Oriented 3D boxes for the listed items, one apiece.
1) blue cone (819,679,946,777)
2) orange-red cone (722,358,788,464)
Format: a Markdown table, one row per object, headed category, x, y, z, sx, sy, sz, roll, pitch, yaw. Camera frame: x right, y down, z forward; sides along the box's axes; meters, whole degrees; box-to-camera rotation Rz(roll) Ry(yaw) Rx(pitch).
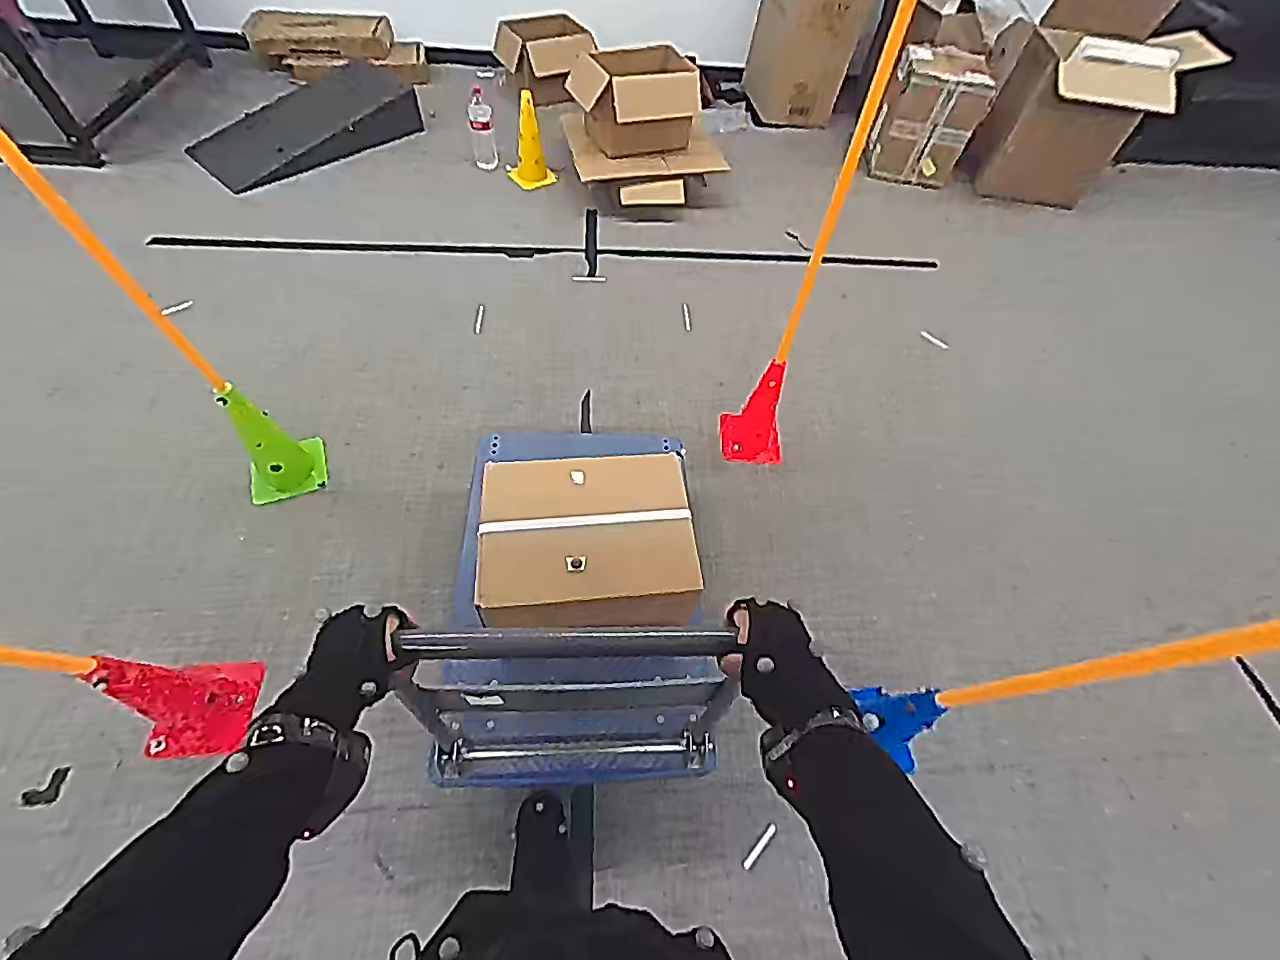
| category | x | y | z | sx | sy | sz | roll | pitch | yaw |
| --- | --- | --- | --- | --- | --- | --- | --- | --- | --- |
| blue cone | 0.563 | 0.519 | 1.188 | 0.193 | 0.380 | 0.192 | -3 | 55 | -8 |
| orange-red cone | 0.388 | -0.235 | 1.668 | 0.199 | 0.360 | 0.198 | 6 | 56 | -3 |
